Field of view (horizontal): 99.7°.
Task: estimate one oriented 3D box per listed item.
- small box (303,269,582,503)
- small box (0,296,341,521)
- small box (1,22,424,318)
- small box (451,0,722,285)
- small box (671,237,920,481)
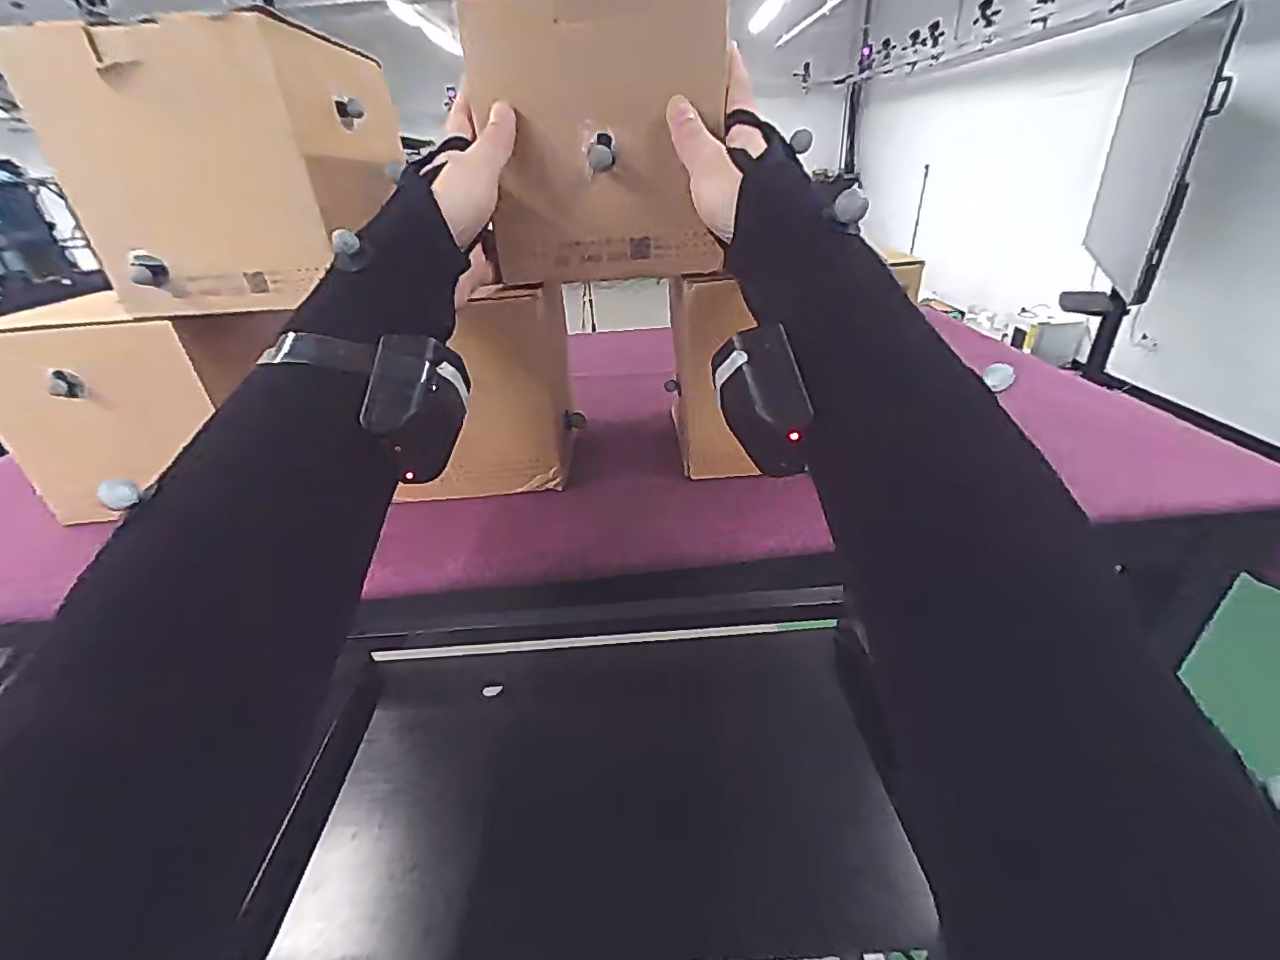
[{"bbox_3d":[-0.156,-0.090,0.497,0.179,0.176,0.168,-4,30,0],"label":"small box"},{"bbox_3d":[-0.423,-0.075,0.507,0.179,0.176,0.168,-6,31,-1],"label":"small box"},{"bbox_3d":[-0.293,-0.229,0.428,0.168,0.176,0.179,-3,30,2],"label":"small box"},{"bbox_3d":[-0.023,-0.255,0.429,0.168,0.176,0.179,-2,30,5],"label":"small box"},{"bbox_3d":[0.122,-0.114,0.498,0.179,0.176,0.168,-6,30,2],"label":"small box"}]
